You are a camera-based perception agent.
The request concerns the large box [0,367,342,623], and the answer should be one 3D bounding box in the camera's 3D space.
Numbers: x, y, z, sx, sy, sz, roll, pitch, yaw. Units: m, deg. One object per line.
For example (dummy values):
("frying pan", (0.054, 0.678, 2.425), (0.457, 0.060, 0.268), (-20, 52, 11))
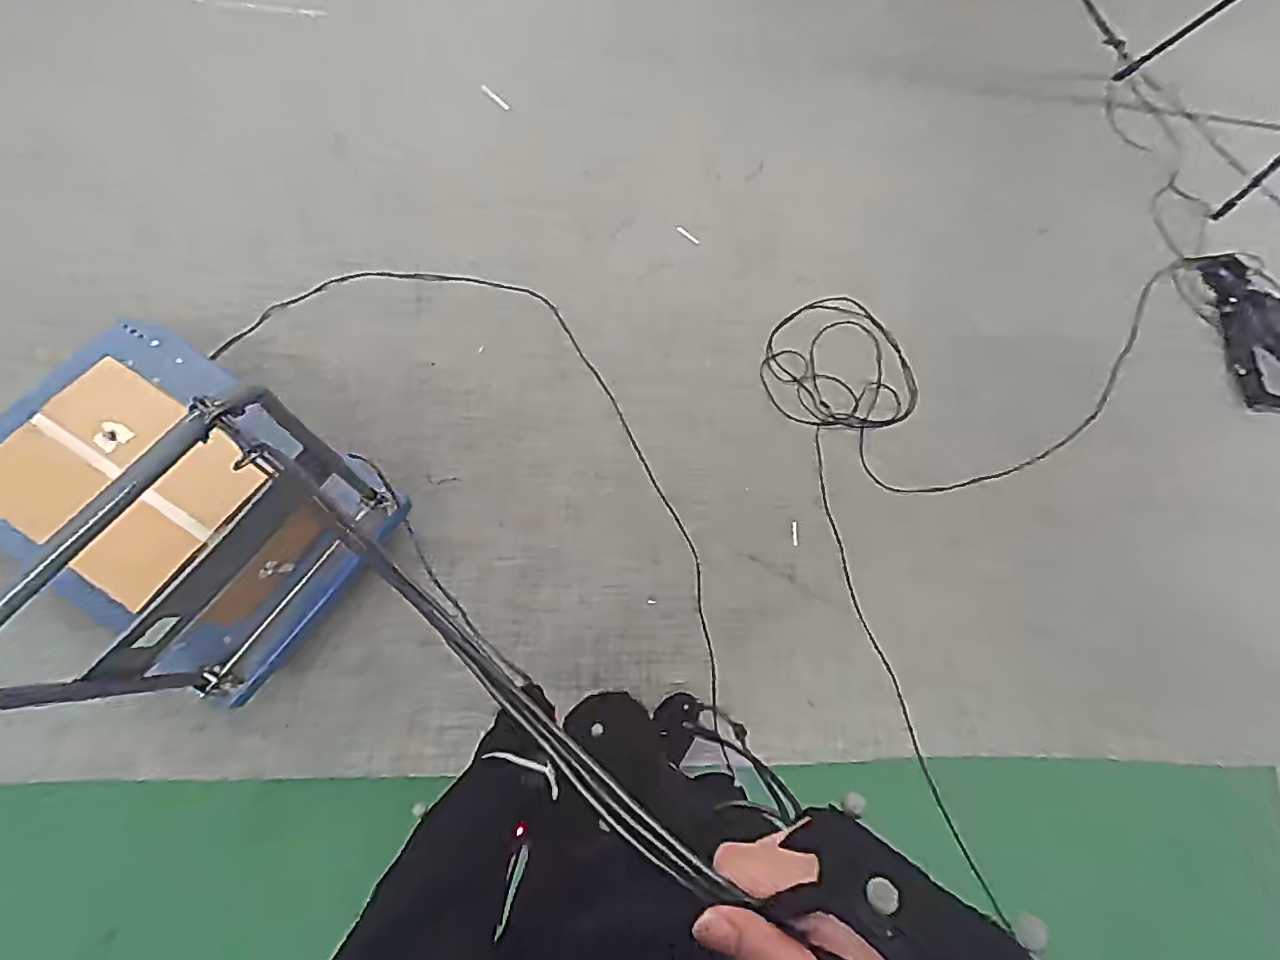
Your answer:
("large box", (-0.927, 0.051, 1.107), (0.408, 0.320, 0.320), (33, 70, 5))
